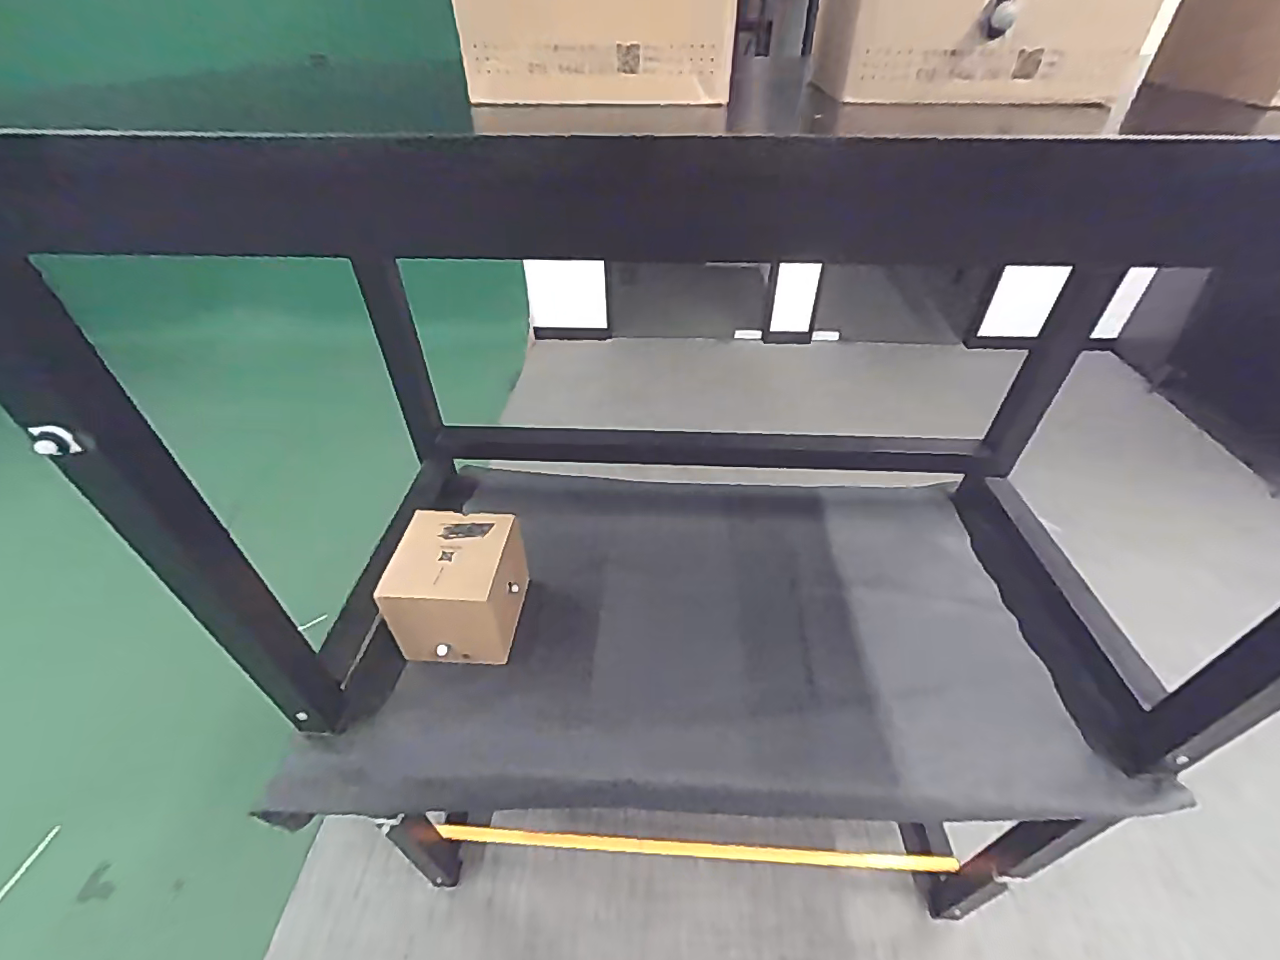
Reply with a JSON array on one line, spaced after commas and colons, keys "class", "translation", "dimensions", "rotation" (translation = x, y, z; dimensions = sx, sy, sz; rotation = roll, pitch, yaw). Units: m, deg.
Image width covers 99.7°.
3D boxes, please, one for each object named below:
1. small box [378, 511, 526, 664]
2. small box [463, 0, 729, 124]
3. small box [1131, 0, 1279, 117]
[{"class": "small box", "translation": [-0.288, 0.172, 0.877], "dimensions": [0.168, 0.176, 0.179], "rotation": [2, 41, 2]}, {"class": "small box", "translation": [-0.023, -0.354, 0.372], "dimensions": [0.168, 0.176, 0.179], "rotation": [2, 40, 3]}, {"class": "small box", "translation": [0.461, -0.319, 0.322], "dimensions": [0.168, 0.176, 0.179], "rotation": [10, 41, 11]}]
